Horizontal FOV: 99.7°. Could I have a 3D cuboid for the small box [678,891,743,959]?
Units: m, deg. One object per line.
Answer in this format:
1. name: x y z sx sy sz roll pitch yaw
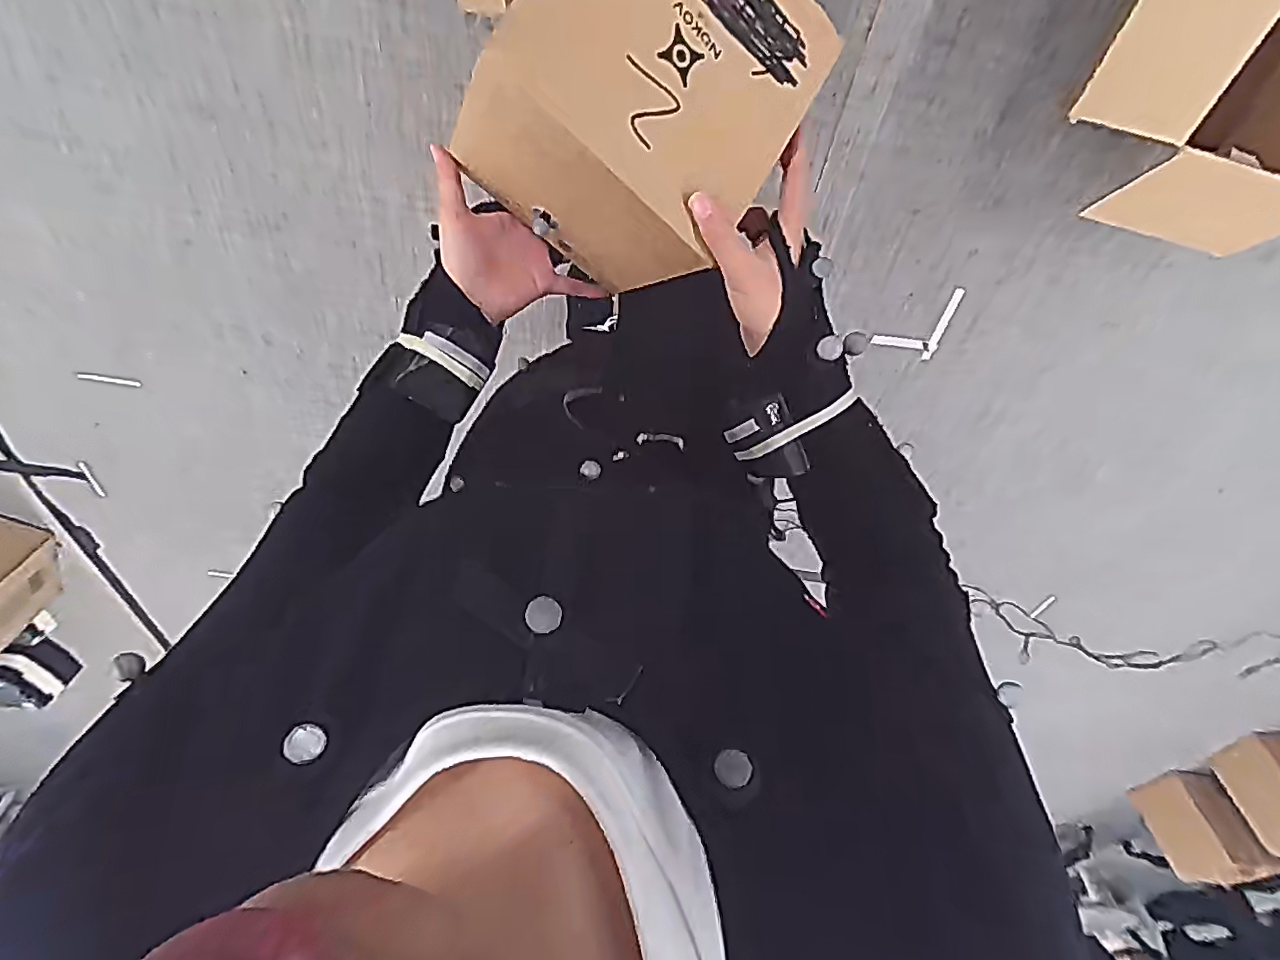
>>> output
1. small box: 0.222 1.457 1.753 0.179 0.176 0.168 7 131 -4
